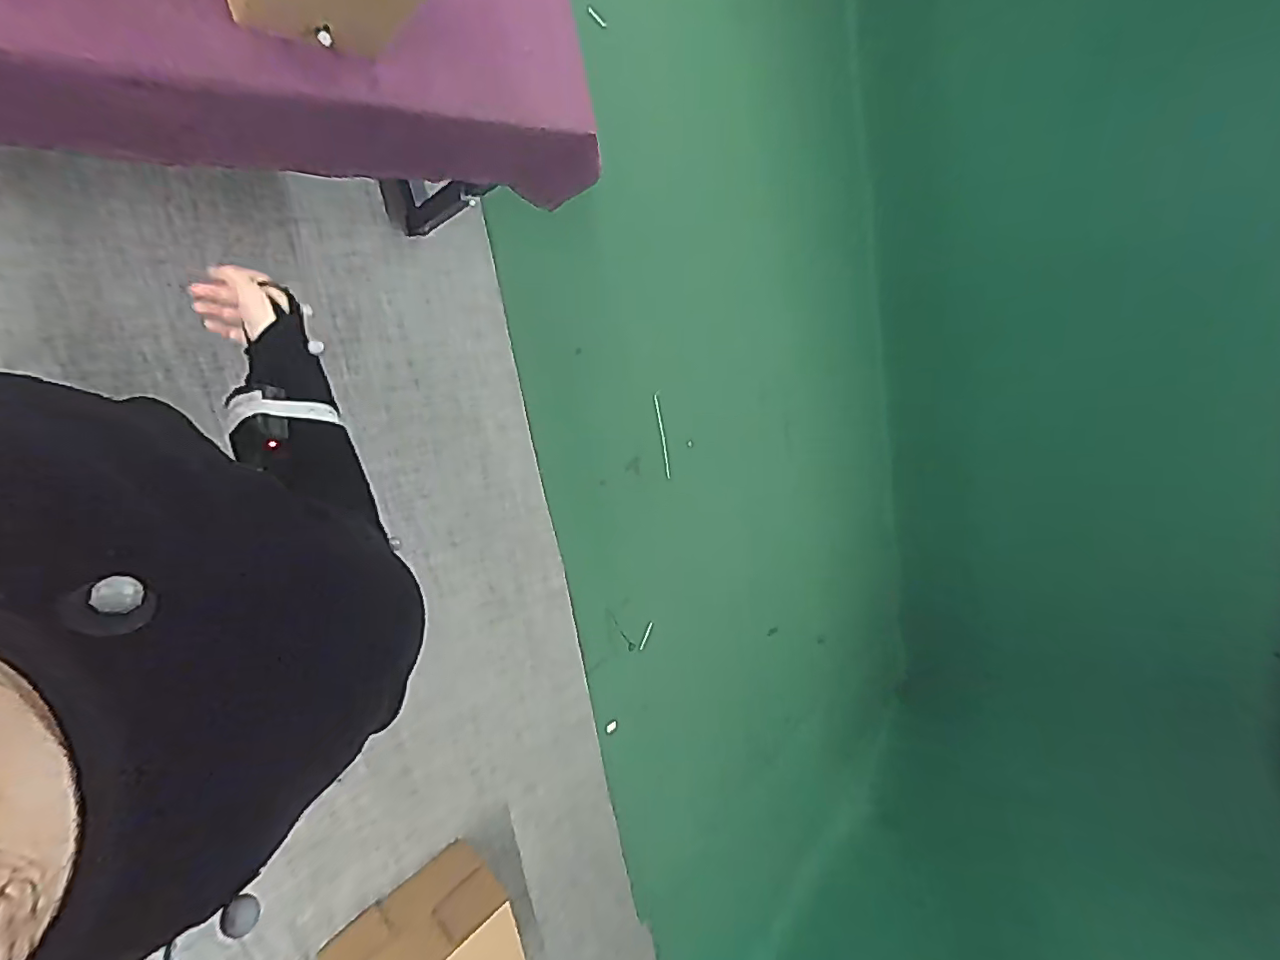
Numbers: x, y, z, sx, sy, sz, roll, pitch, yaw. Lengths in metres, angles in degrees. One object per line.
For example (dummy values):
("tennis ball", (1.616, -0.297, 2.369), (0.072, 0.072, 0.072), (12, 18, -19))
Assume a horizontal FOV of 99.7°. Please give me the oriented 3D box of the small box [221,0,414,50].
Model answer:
("small box", (-0.396, -0.655, 0.638), (0.179, 0.176, 0.168), (-24, 107, -44))
